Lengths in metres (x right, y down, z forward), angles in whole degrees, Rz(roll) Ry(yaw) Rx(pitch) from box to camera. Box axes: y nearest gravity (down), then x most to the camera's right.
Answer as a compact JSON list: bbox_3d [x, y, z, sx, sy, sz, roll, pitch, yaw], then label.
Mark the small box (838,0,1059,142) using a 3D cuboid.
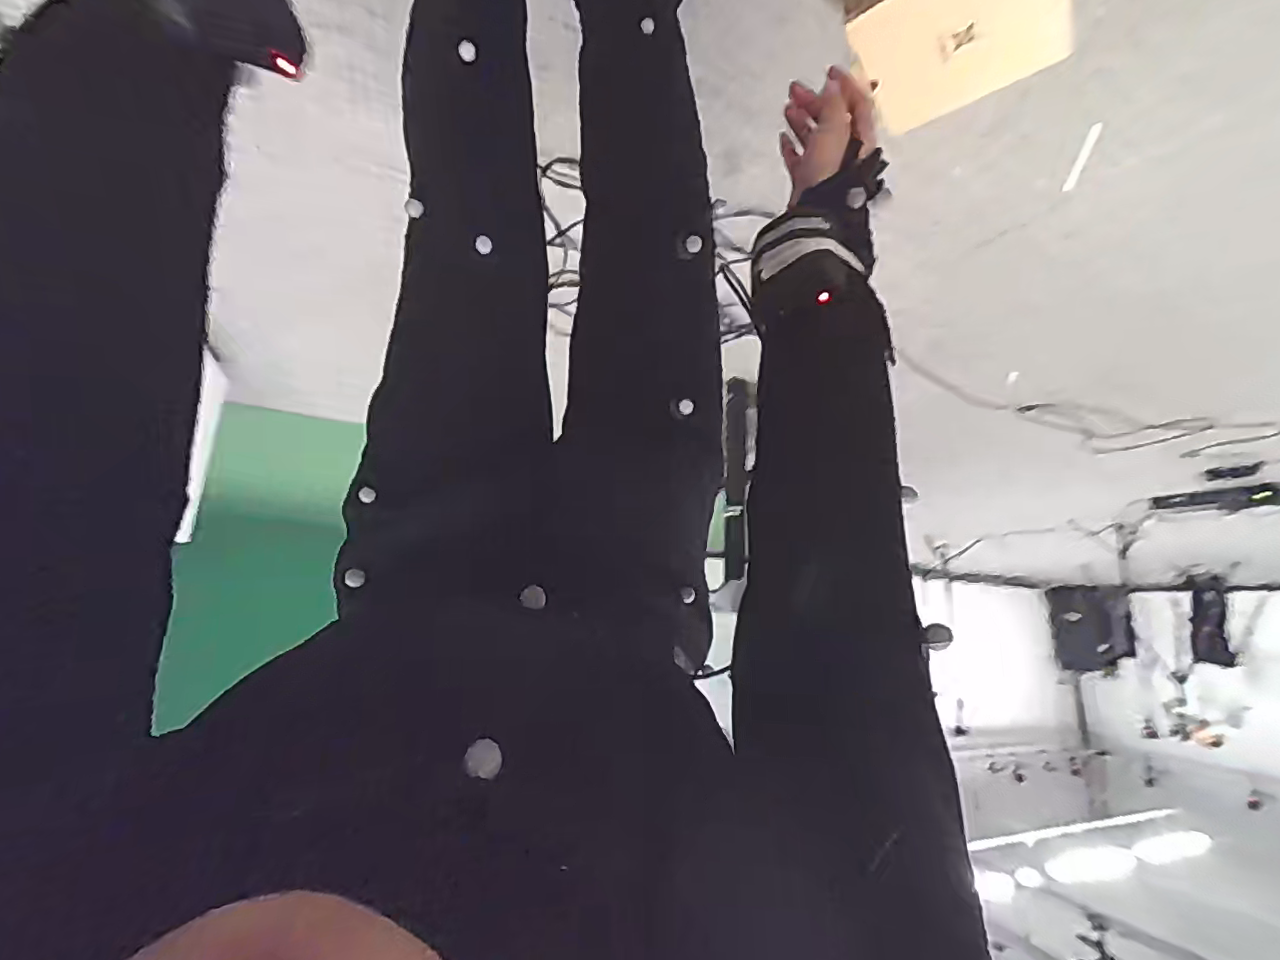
[{"bbox_3d":[0.314,-0.514,0.562,0.179,0.176,0.168,-7,164,38],"label":"small box"}]
